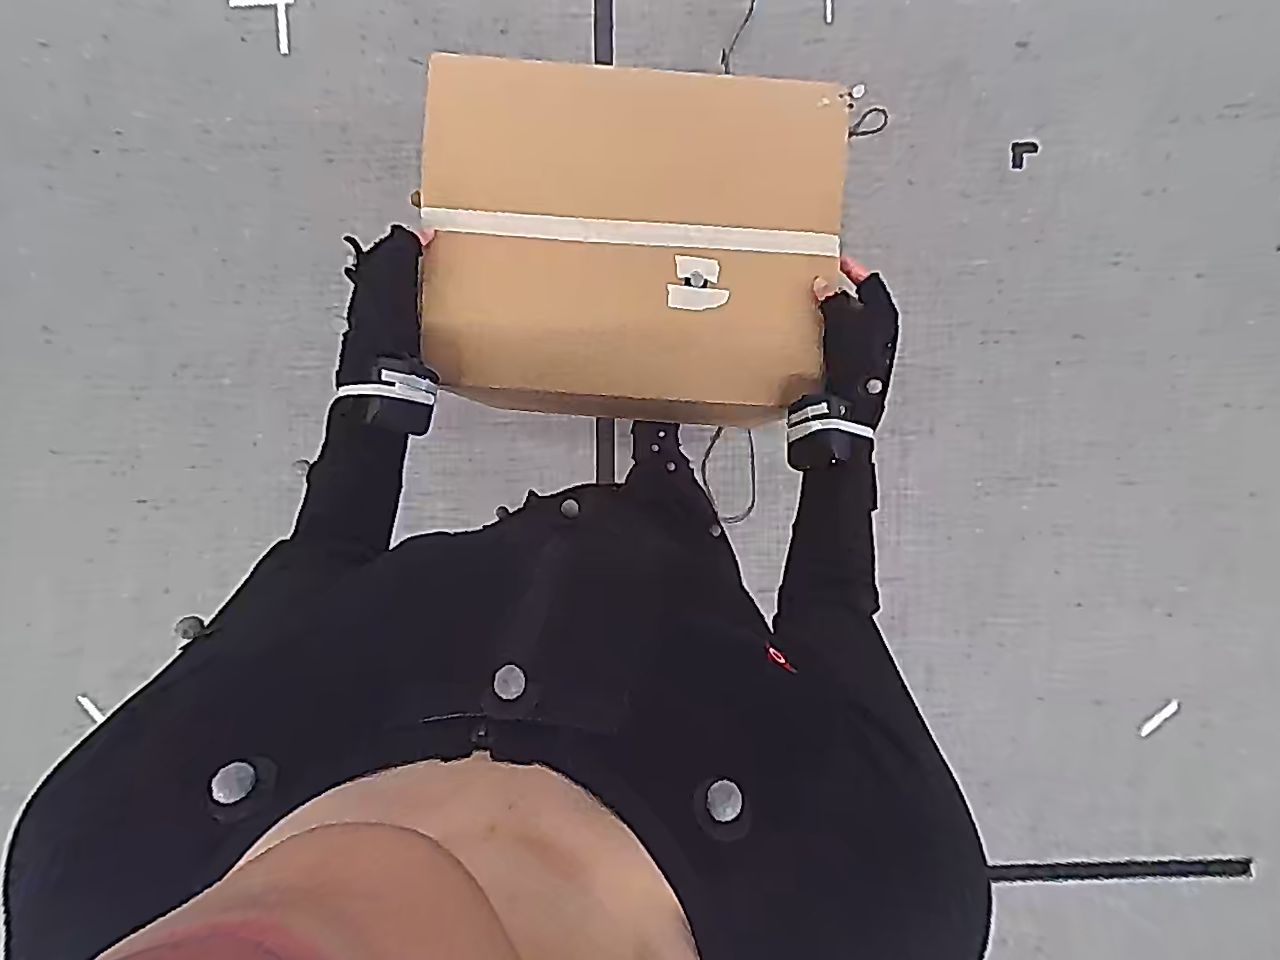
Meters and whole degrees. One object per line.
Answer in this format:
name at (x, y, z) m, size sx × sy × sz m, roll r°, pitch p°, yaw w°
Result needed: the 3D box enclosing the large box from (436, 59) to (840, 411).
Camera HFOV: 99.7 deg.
large box at (-0.008, -0.261, 0.692) m, size 0.408 × 0.320 × 0.320 m, roll 3°, pitch 93°, yaw -1°
